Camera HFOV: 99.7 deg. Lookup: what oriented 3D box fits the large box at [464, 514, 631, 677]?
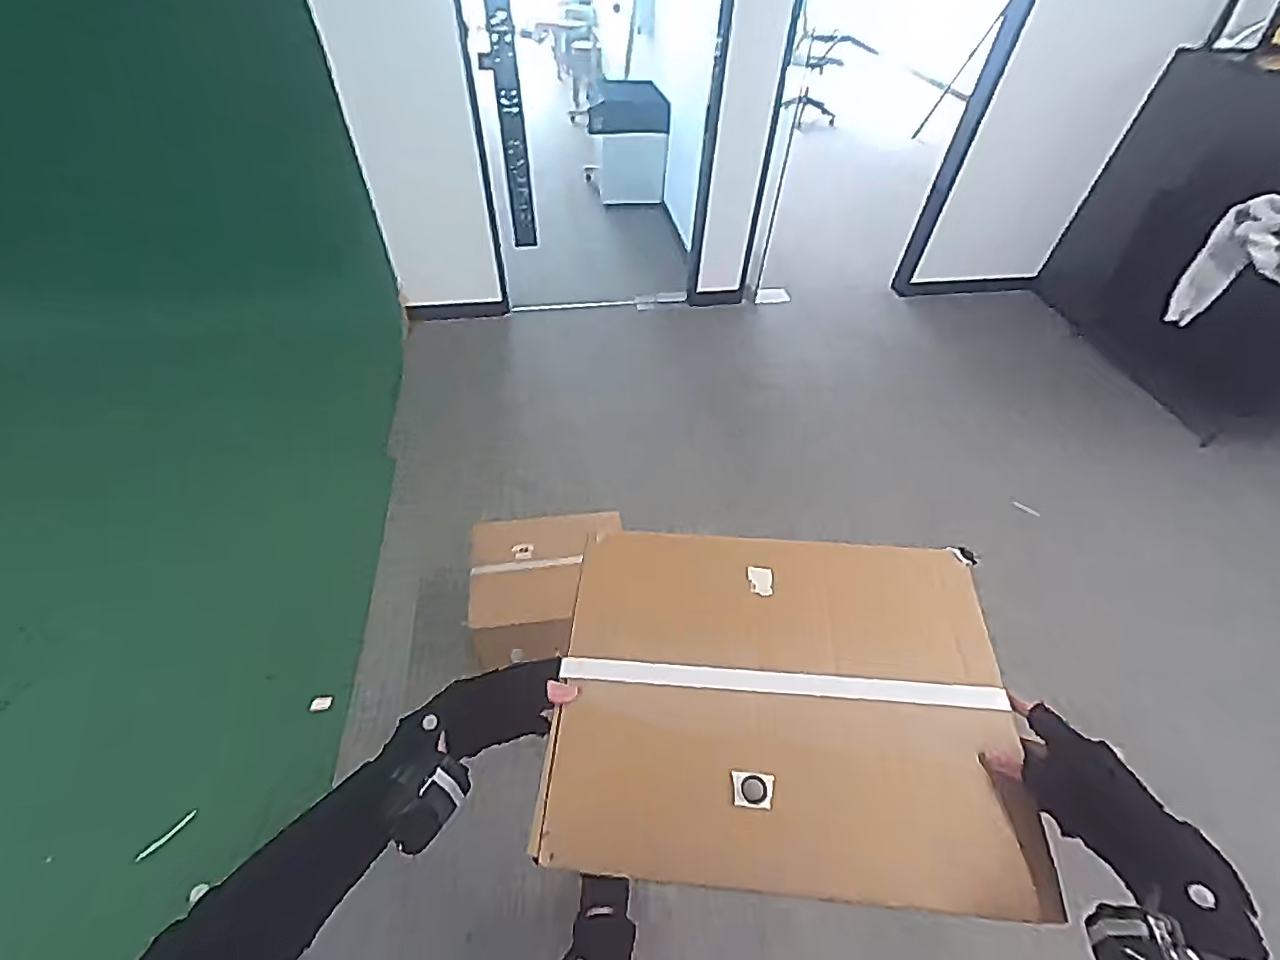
[{"bbox_3d":[-0.248,0.324,1.509,0.408,0.320,0.320,-5,48,-7],"label":"large box"}]
